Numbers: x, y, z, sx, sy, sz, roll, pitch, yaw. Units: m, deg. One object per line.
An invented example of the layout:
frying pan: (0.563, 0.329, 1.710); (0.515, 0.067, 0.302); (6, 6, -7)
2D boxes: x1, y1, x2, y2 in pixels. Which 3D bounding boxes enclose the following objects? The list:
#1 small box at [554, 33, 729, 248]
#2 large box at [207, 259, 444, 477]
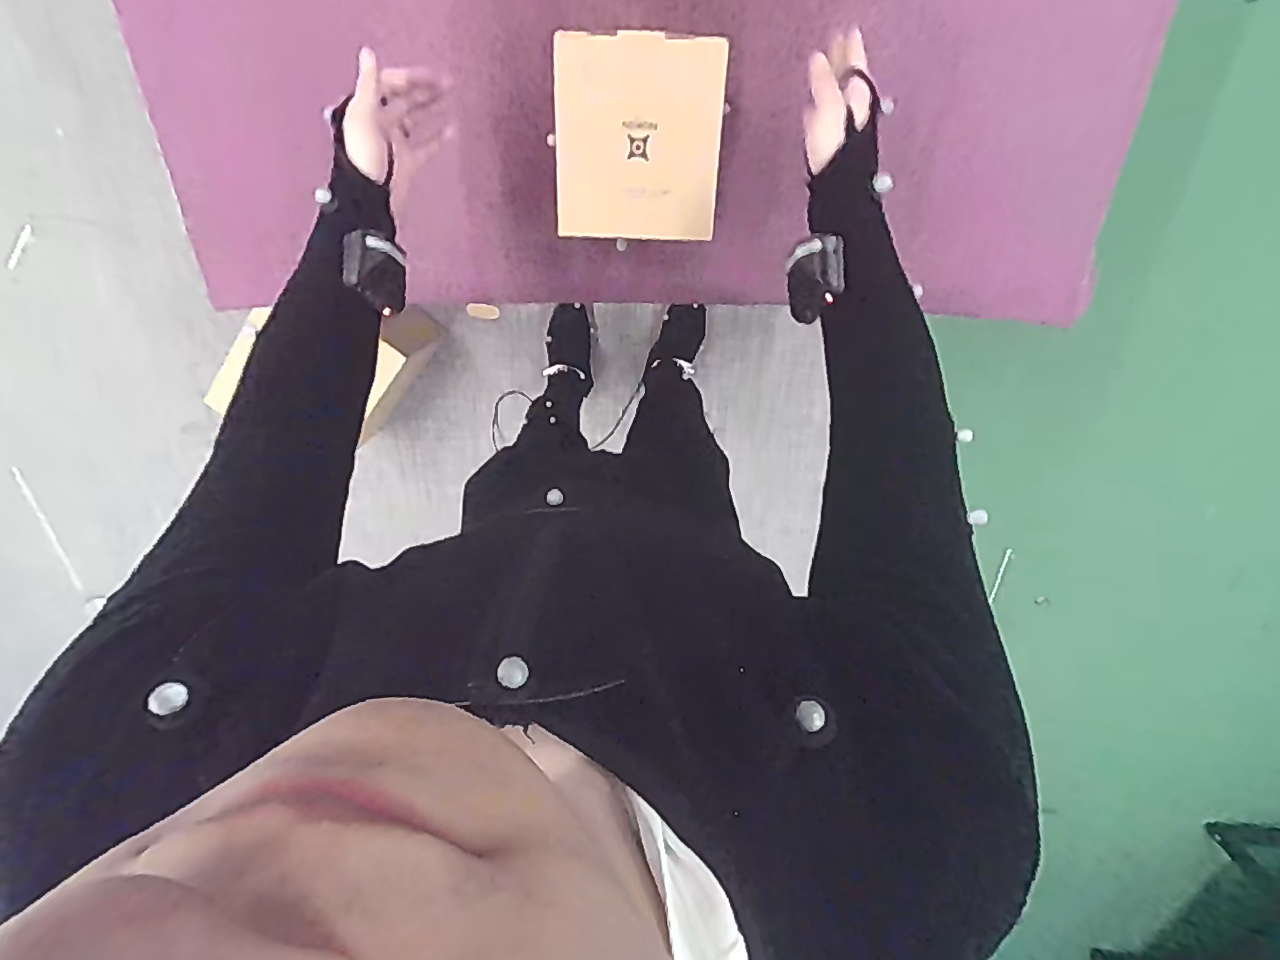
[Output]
small box: (-0.003, -0.359, 0.603); (0.168, 0.176, 0.179); (3, 115, 0)
large box: (-0.772, -0.291, 1.372); (0.320, 0.320, 0.408); (37, 109, -18)
